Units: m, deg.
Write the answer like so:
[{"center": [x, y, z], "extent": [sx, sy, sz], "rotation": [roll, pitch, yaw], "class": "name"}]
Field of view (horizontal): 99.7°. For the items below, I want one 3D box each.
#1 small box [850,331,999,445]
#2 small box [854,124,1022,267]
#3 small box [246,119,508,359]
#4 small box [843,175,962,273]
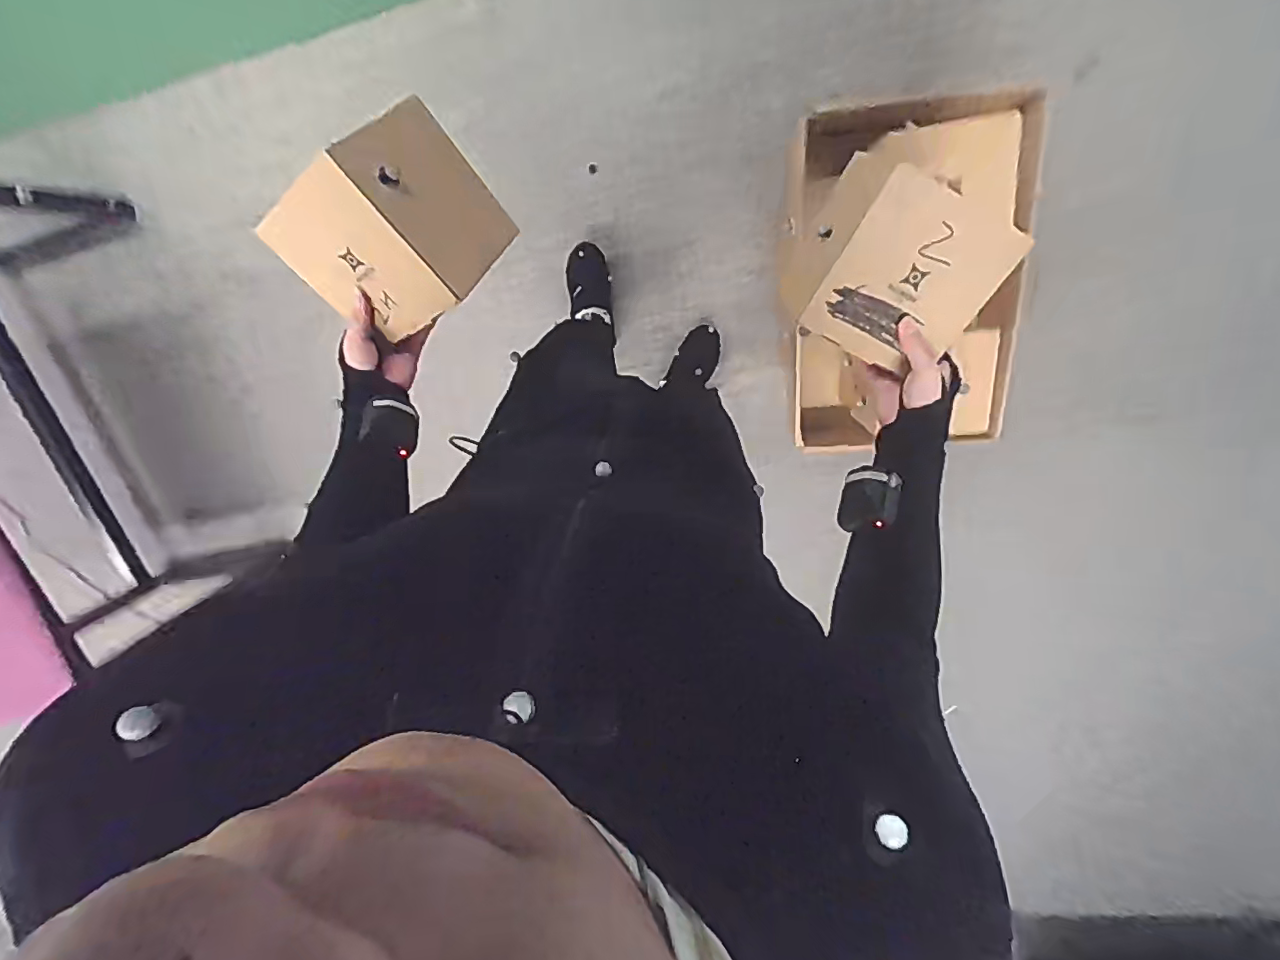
[{"center": [0.474, -0.163, 0.933], "extent": [0.179, 0.176, 0.168], "rotation": [-2, 110, 6], "class": "small box"}, {"center": [0.449, -0.430, 0.843], "extent": [0.179, 0.176, 0.168], "rotation": [-4, 110, 9], "class": "small box"}, {"center": [-0.289, -0.279, 0.625], "extent": [0.168, 0.176, 0.179], "rotation": [-14, 132, 35], "class": "small box"}, {"center": [0.478, -0.482, 0.995], "extent": [0.168, 0.176, 0.179], "rotation": [-4, 110, 8], "class": "small box"}]
